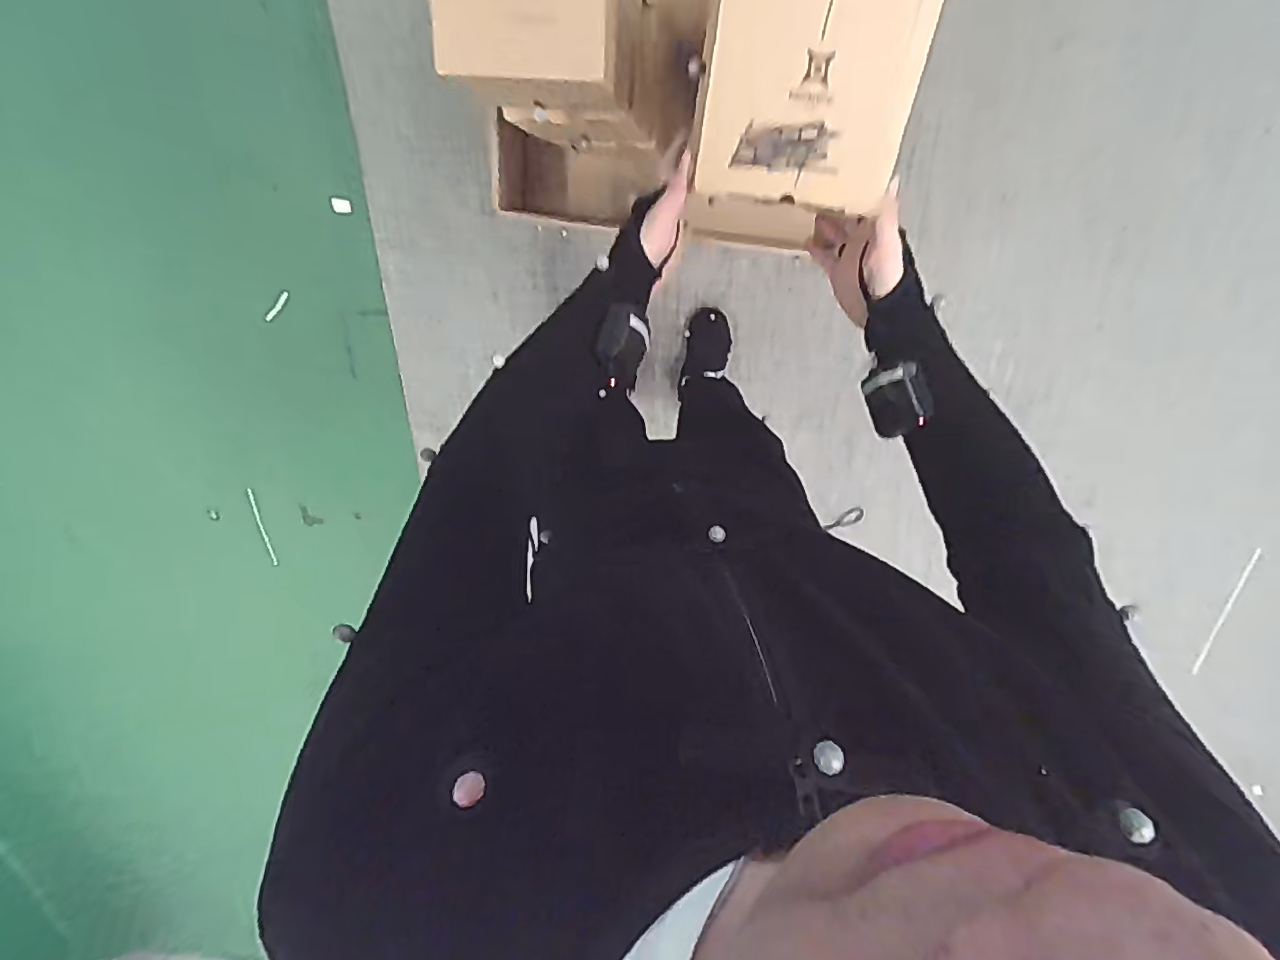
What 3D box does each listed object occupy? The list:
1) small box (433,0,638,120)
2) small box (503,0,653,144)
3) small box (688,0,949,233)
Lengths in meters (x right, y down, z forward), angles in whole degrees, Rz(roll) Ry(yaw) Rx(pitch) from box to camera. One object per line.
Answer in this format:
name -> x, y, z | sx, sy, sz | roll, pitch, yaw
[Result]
small box -> -0.095, -0.484, 0.542 | 0.168, 0.176, 0.179 | 7, 117, 4
small box -> -0.074, -0.547, 0.692 | 0.168, 0.176, 0.179 | 5, 117, 4
small box -> 0.139, -0.341, 0.498 | 0.168, 0.176, 0.179 | 6, 120, -3
